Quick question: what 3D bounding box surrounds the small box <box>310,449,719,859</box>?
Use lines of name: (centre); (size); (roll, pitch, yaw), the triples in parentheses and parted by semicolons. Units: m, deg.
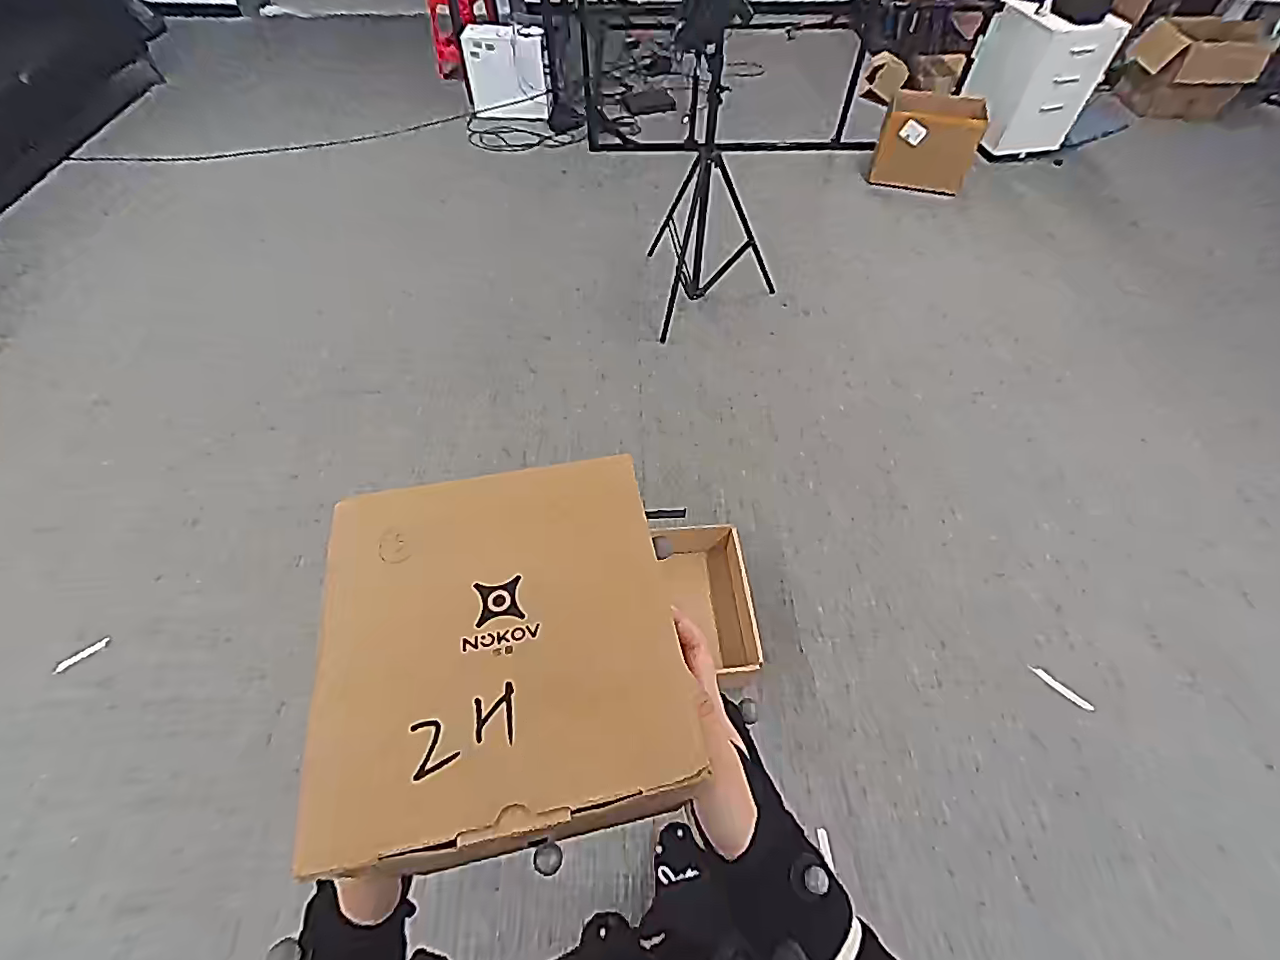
small box: (-0.066, 0.108, 0.328); (0.168, 0.176, 0.179); (-9, 56, -9)
